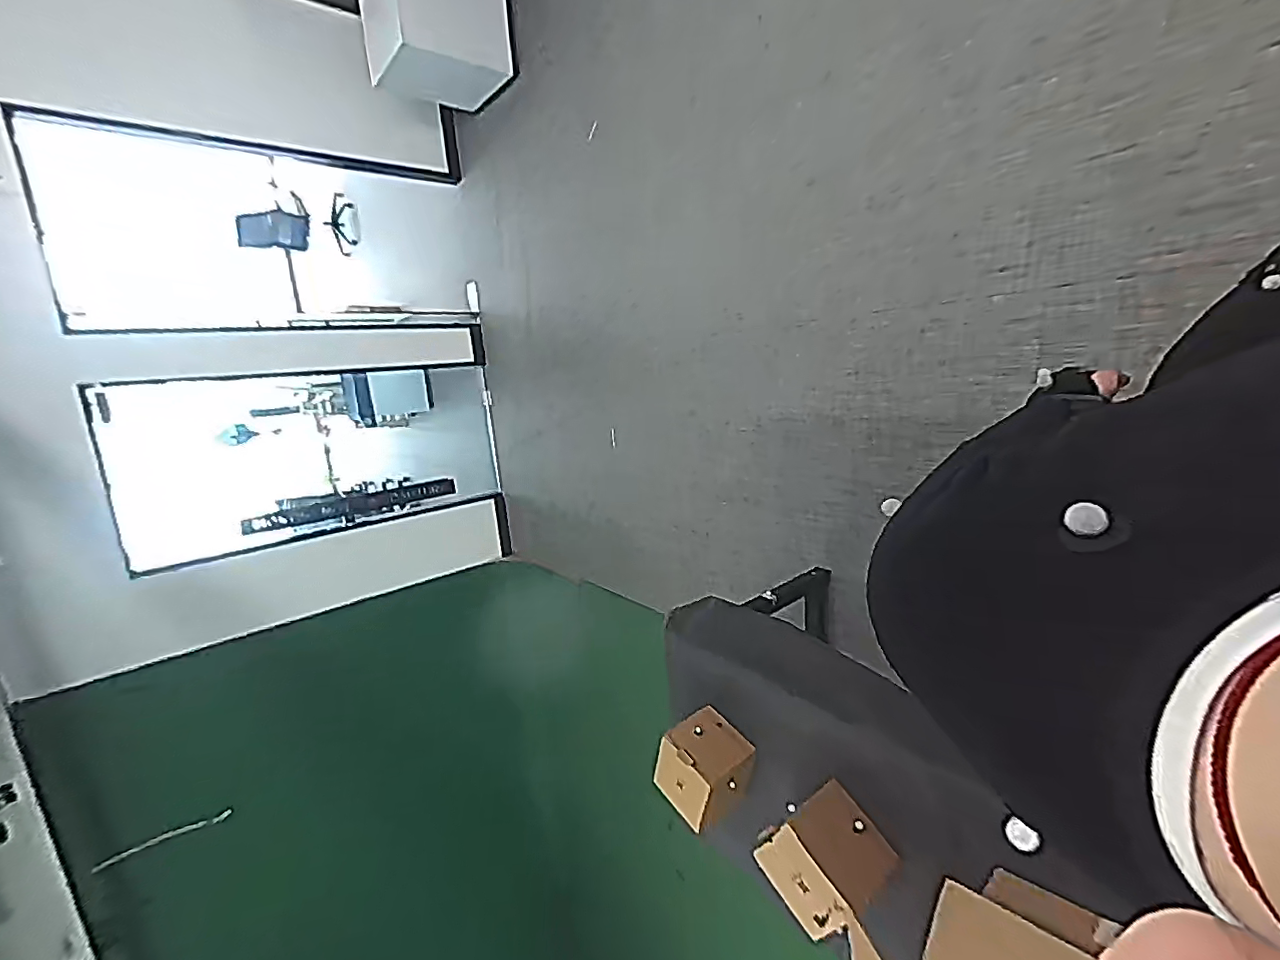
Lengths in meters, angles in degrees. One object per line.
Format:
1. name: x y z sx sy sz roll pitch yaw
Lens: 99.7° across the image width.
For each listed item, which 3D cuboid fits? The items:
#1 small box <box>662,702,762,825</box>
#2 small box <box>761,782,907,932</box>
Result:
1. small box: 0.178 0.690 1.334 0.168 0.176 0.179 34 126 44
2. small box: 0.385 0.739 1.079 0.179 0.176 0.168 51 134 32
